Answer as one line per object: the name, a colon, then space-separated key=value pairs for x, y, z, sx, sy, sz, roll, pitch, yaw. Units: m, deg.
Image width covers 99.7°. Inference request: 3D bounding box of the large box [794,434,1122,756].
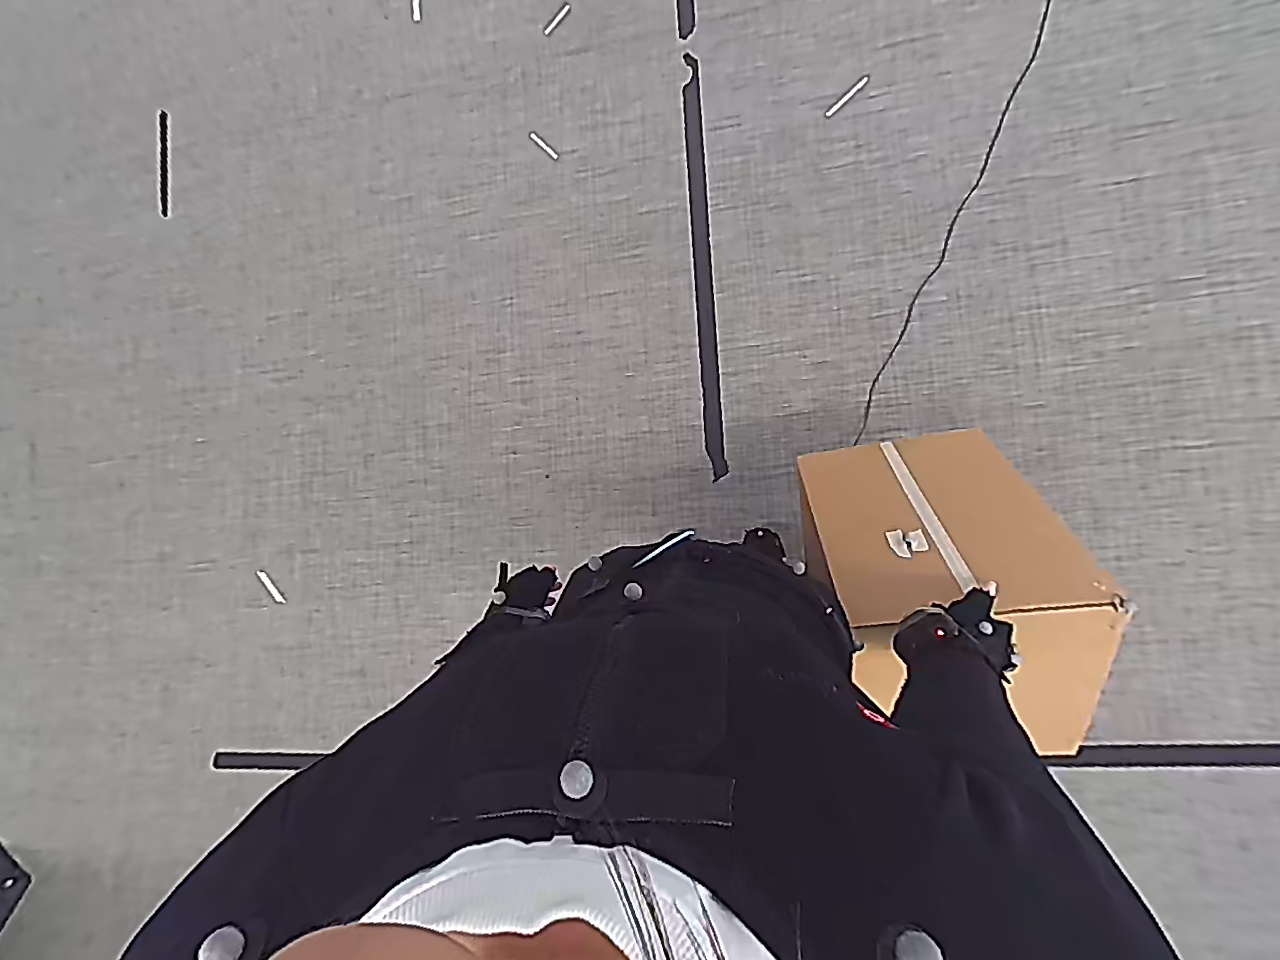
large box: x=0.451 y=0.174 z=0.885 sx=0.320 sy=0.408 sz=0.320 roll=-9 pitch=124 yaw=12
